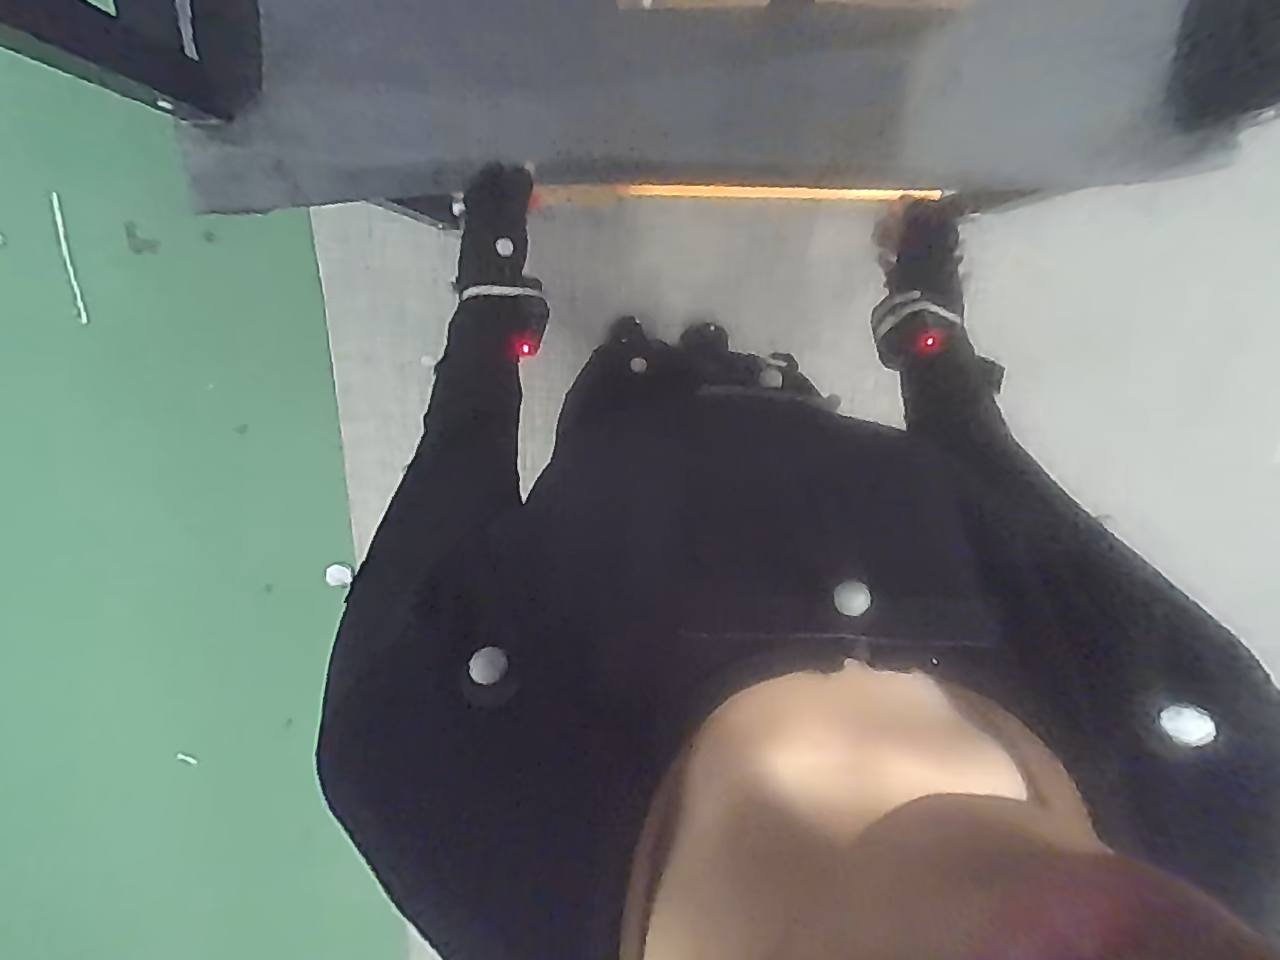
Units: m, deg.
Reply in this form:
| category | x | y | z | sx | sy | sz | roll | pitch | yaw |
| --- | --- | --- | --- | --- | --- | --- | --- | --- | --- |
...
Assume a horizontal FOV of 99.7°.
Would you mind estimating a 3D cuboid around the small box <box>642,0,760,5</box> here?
| category | x | y | z | sx | sy | sz | roll | pitch | yaw |
| --- | --- | --- | --- | --- | --- | --- | --- | --- | --- |
| small box | 0.056 | -0.583 | 0.500 | 0.168 | 0.176 | 0.179 | 1 | 105 | 2 |
